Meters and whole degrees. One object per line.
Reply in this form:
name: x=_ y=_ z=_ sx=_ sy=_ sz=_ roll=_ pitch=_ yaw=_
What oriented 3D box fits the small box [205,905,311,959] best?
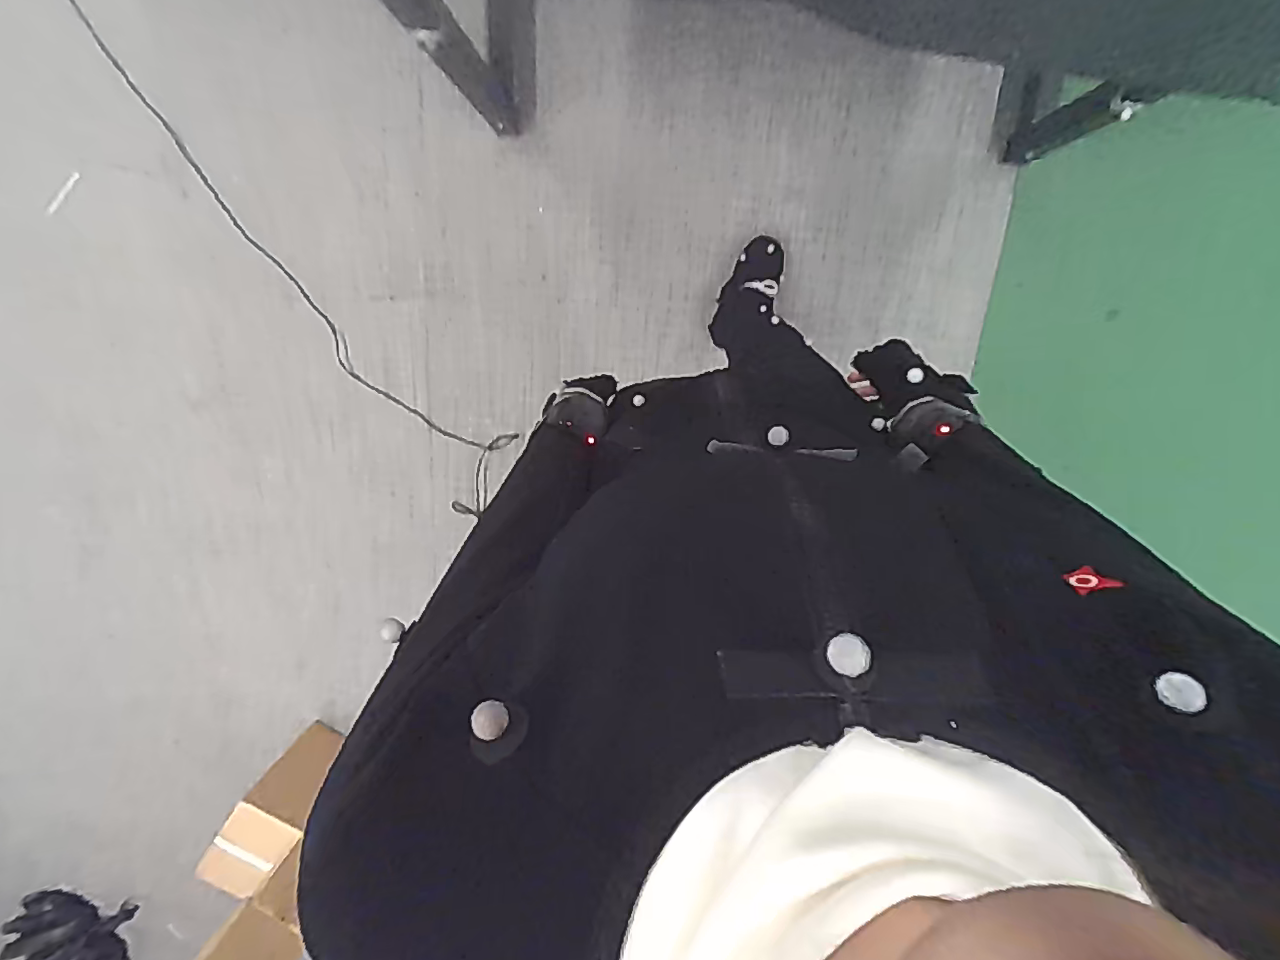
small box: x=-0.882 y=1.104 z=1.198 sx=0.179 sy=0.176 sz=0.168 roll=40 pitch=105 yaw=-5

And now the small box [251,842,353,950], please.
small box: x=-0.860 y=1.061 z=1.352 sx=0.168 sy=0.176 sz=0.179 roll=41 pitch=103 yaw=-6
